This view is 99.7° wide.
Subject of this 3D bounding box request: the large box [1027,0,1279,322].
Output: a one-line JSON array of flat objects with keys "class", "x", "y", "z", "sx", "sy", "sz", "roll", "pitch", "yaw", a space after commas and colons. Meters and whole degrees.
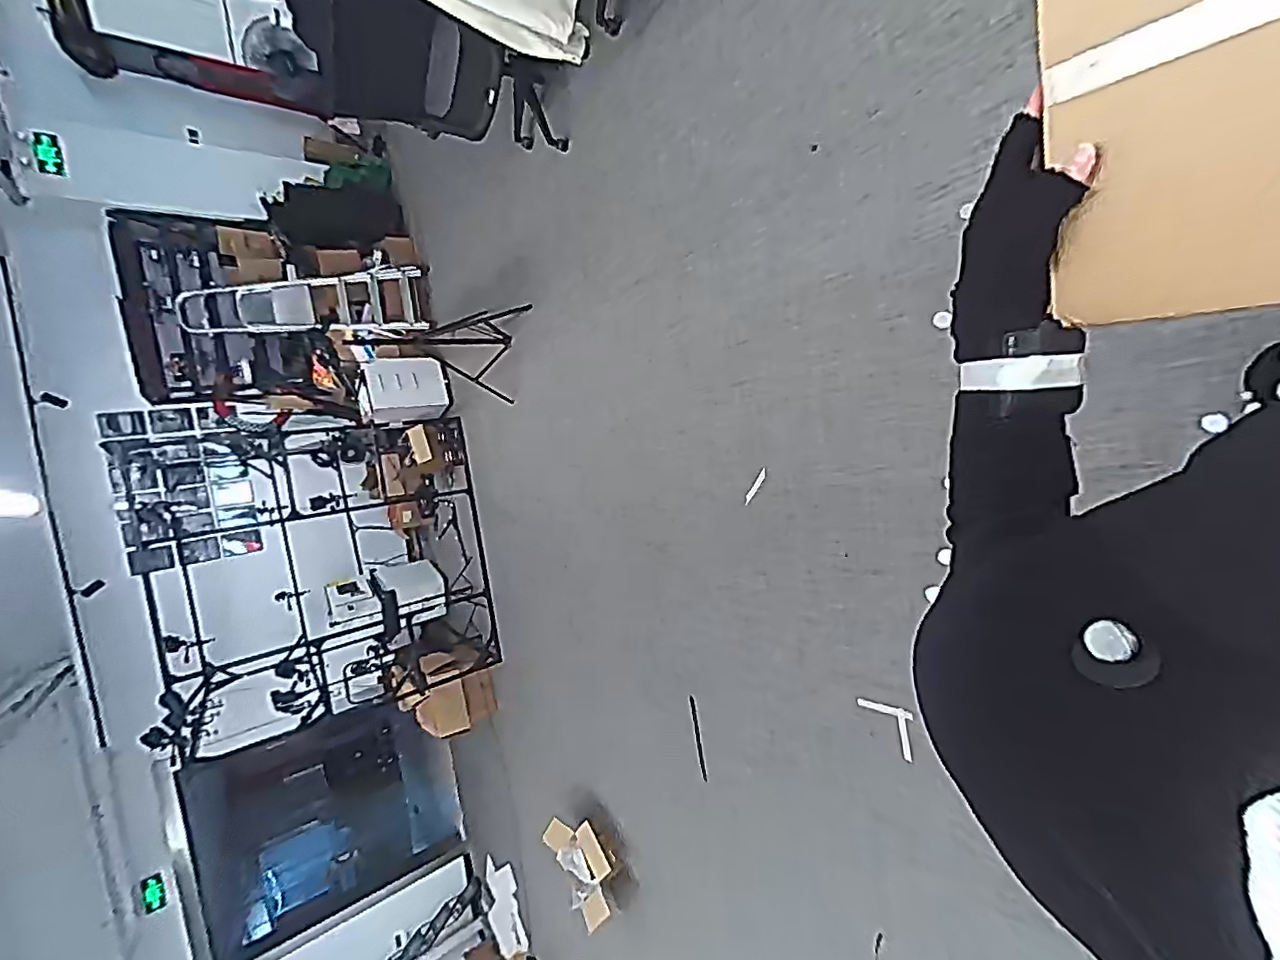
[{"class": "large box", "x": 0.492, "y": -0.301, "z": 0.277, "sx": 0.408, "sy": 0.320, "sz": 0.320, "roll": 7, "pitch": 117, "yaw": 53}]
